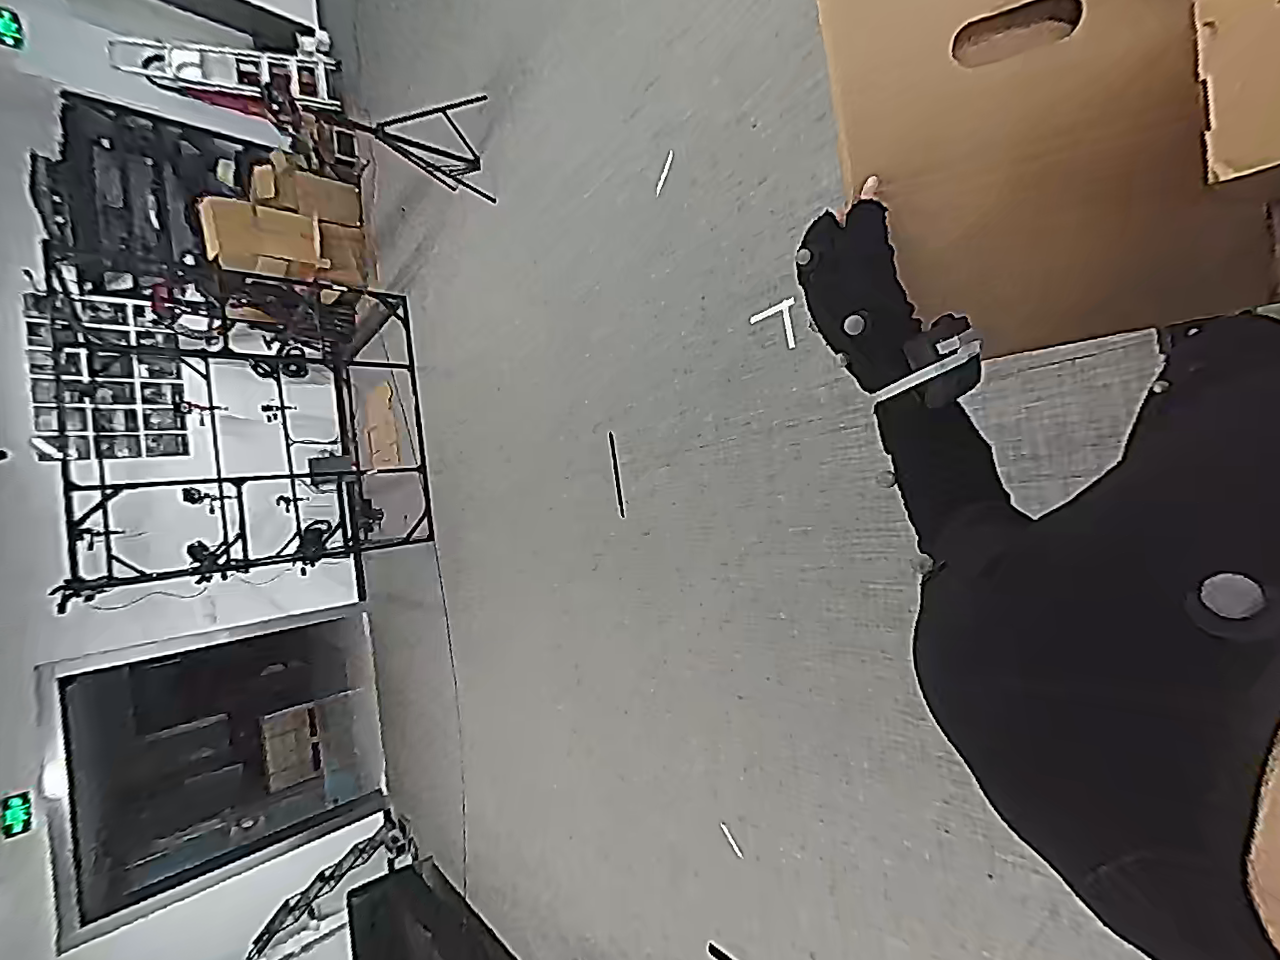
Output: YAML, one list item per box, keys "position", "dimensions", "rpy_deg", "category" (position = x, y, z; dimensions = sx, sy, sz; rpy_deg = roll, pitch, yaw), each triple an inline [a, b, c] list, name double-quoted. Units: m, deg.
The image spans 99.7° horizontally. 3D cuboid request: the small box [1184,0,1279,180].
- position: [0.432, -0.283, 0.285]
  dimensions: [0.179, 0.176, 0.168]
  rpy_deg: [0, 102, 58]
  category: "small box"
